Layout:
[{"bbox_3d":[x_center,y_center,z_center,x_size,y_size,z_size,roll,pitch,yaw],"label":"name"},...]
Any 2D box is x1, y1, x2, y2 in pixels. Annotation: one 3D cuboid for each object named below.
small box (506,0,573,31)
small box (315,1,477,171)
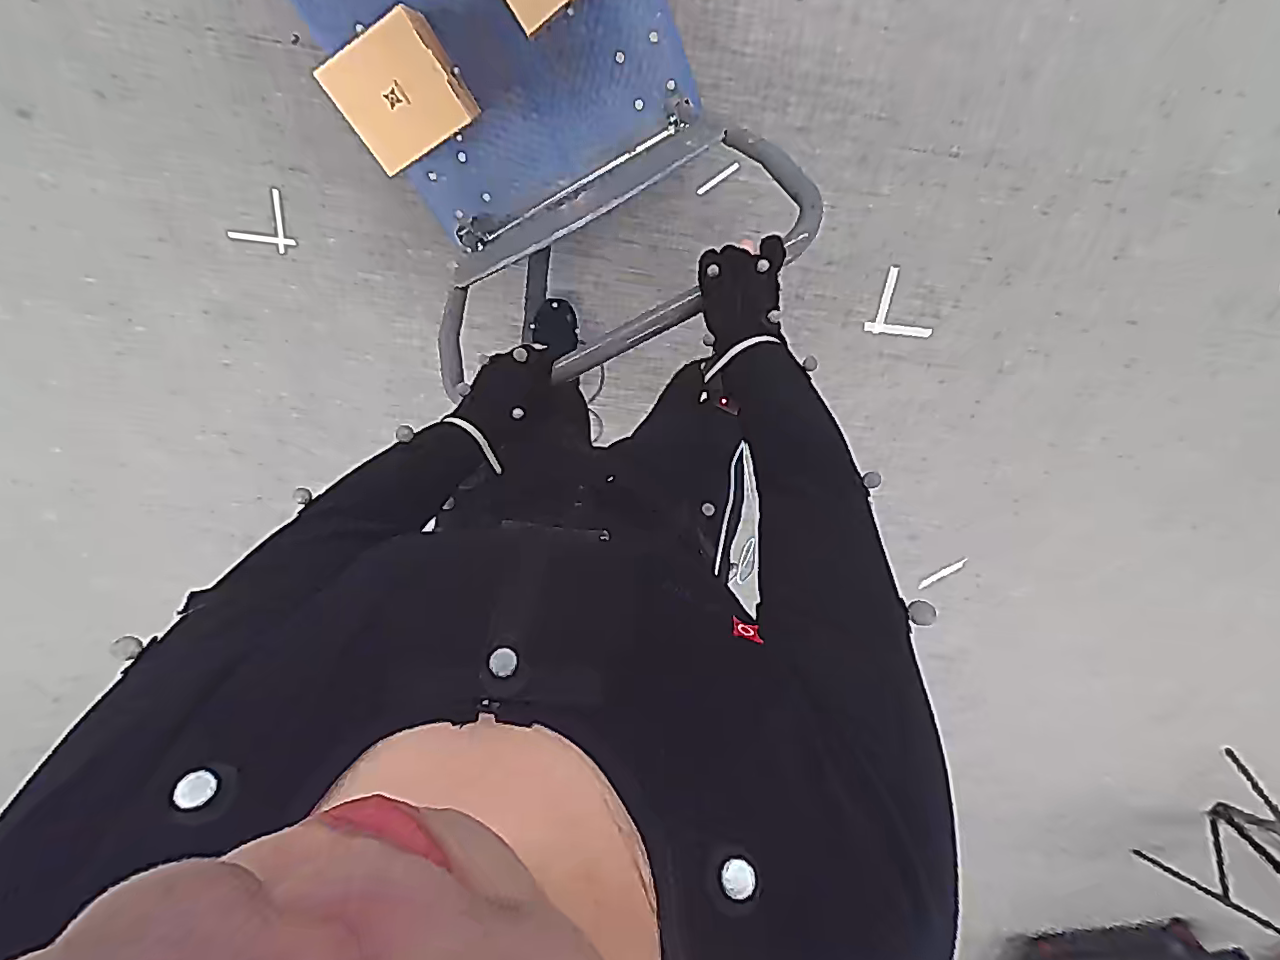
[{"bbox_3d":[-0.156,-0.834,0.831,0.179,0.176,0.168,-31,126,14],"label":"small box"},{"bbox_3d":[-0.400,-0.663,0.924,0.179,0.176,0.168,-28,126,11],"label":"small box"}]
